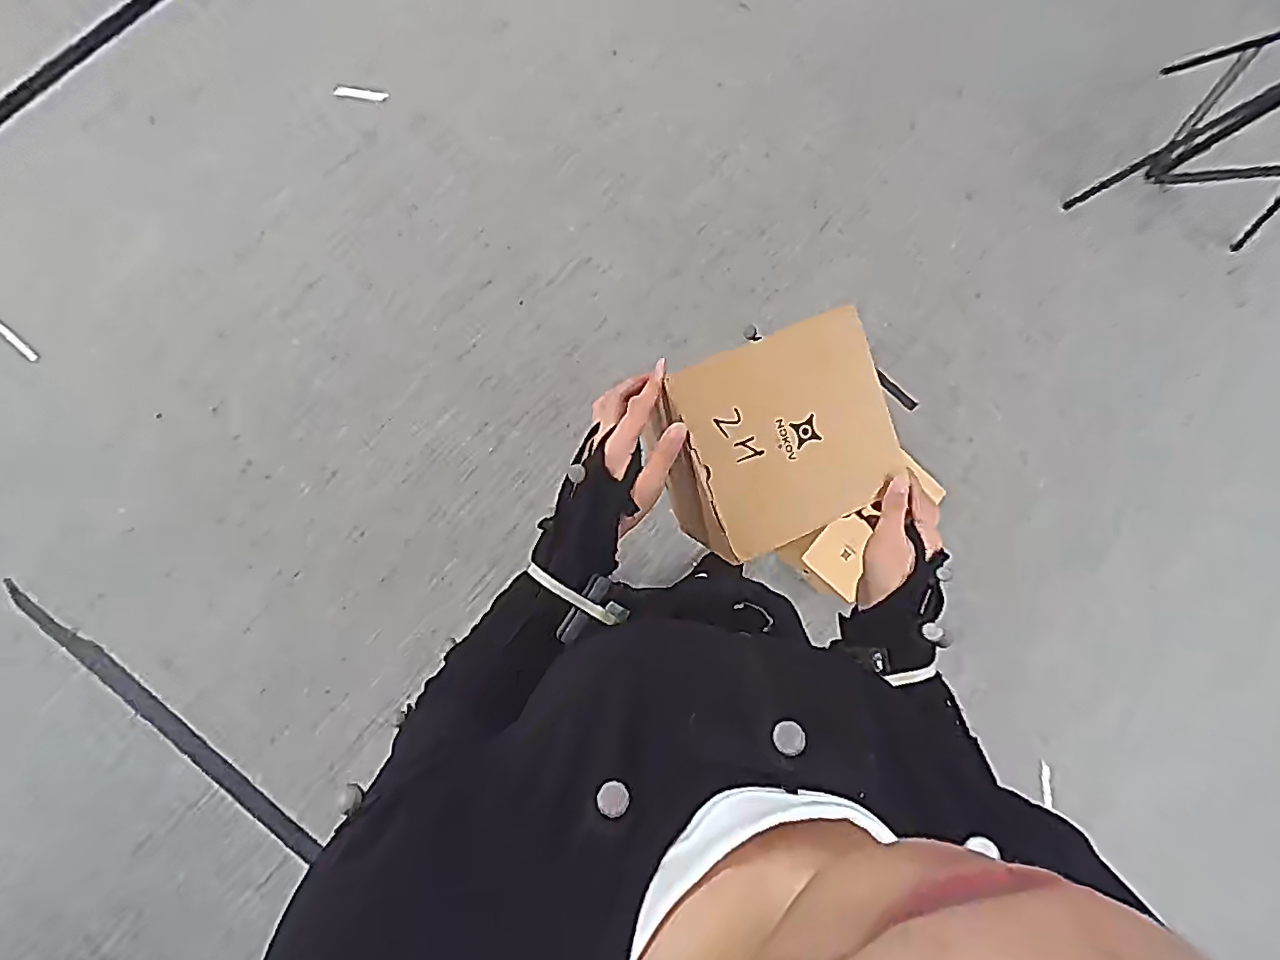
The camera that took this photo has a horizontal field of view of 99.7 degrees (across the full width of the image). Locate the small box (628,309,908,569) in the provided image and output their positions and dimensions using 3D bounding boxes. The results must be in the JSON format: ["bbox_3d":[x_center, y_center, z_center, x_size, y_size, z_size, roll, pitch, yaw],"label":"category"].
[{"bbox_3d":[0.107,-0.041,0.514,0.179,0.176,0.168,-23,98,-9],"label":"small box"}]
